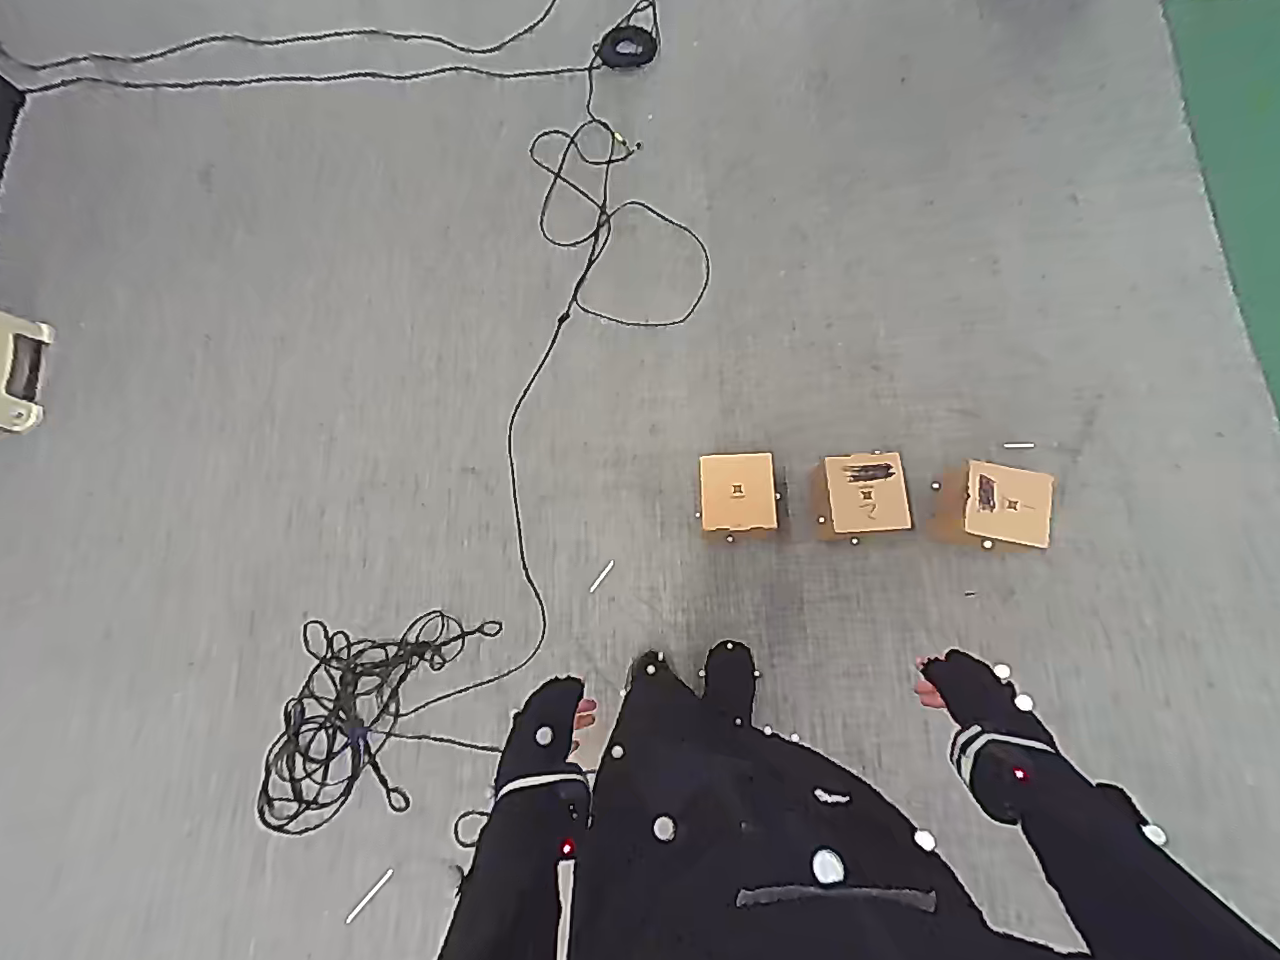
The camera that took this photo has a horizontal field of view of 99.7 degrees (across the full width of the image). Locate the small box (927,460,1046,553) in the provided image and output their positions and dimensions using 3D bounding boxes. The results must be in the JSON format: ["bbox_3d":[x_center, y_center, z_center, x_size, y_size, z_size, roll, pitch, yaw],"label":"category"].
[{"bbox_3d":[0.791,0.067,1.250,0.179,0.176,0.168,12,78,6],"label":"small box"}]

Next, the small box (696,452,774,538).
[{"bbox_3d":[0.223,0.042,1.305,0.168,0.176,0.179,-2,77,4],"label":"small box"}]
